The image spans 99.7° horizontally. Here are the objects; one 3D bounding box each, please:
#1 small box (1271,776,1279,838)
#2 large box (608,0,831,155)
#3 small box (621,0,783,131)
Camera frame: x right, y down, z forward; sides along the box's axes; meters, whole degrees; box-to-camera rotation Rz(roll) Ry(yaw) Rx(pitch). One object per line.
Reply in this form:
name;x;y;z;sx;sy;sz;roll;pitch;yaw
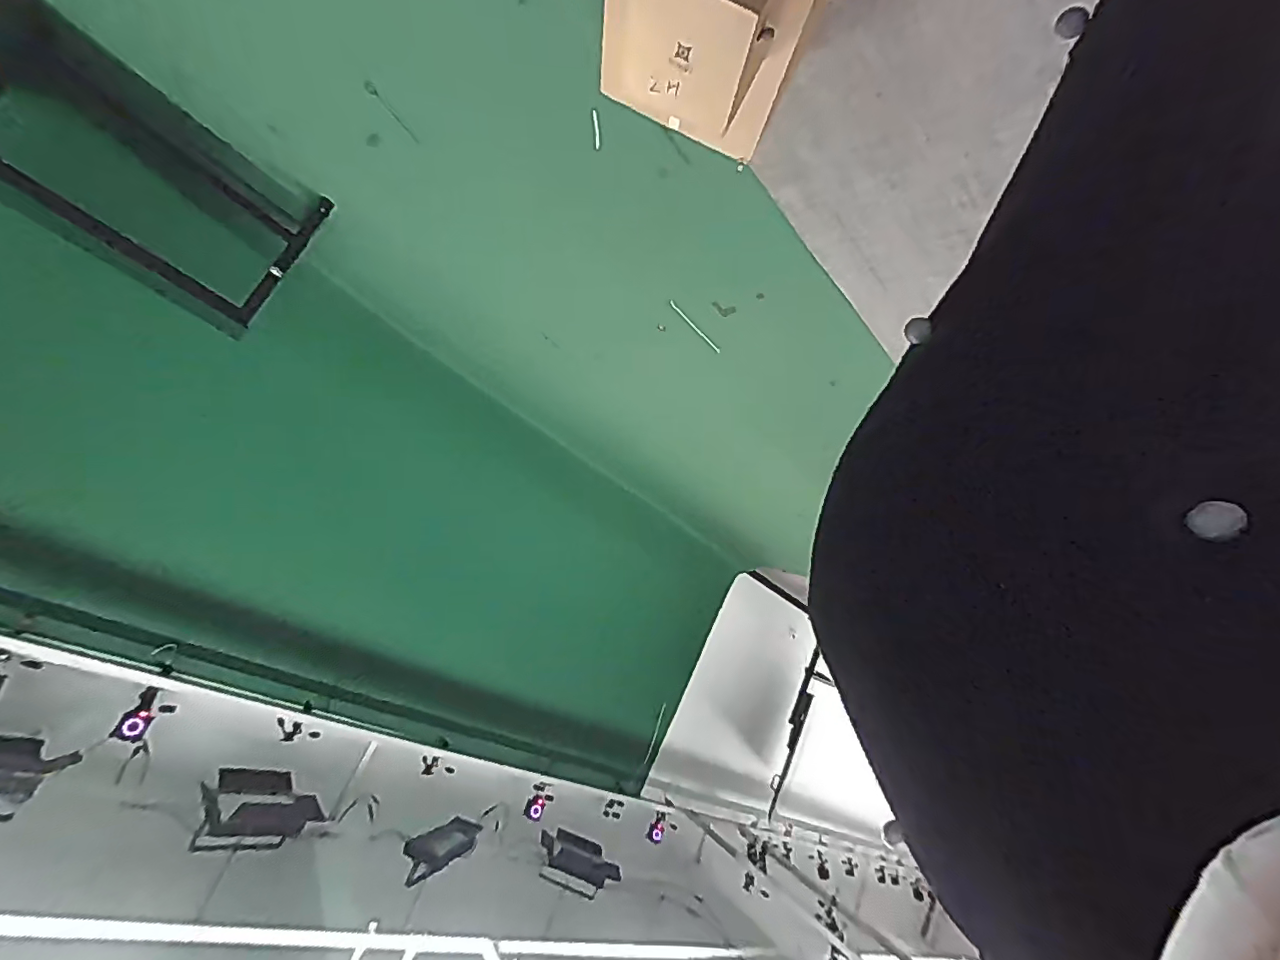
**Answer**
small box;1.776;0.895;1.400;0.179;0.176;0.168;34;164;-30
large box;0.160;-0.837;0.839;0.320;0.320;0.408;28;167;0
small box;0.089;-0.623;0.711;0.168;0.176;0.179;26;166;0
